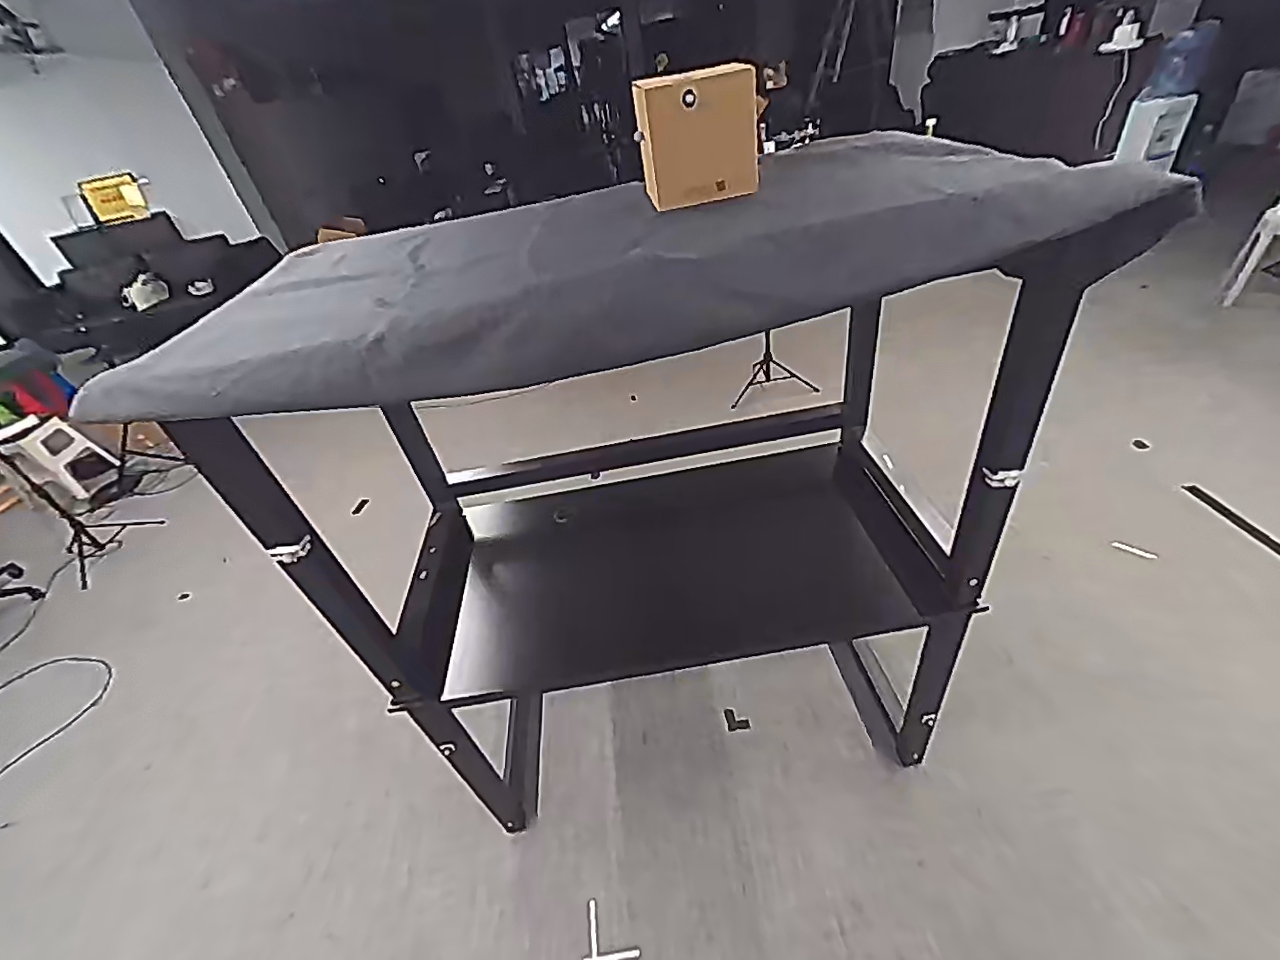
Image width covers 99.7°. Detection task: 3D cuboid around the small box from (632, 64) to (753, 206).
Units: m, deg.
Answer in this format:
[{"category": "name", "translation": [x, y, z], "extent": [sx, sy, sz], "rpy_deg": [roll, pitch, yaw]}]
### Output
[{"category": "small box", "translation": [0.085, -0.568, 0.896], "extent": [0.168, 0.176, 0.179], "rpy_deg": [-11, 37, 1]}]
